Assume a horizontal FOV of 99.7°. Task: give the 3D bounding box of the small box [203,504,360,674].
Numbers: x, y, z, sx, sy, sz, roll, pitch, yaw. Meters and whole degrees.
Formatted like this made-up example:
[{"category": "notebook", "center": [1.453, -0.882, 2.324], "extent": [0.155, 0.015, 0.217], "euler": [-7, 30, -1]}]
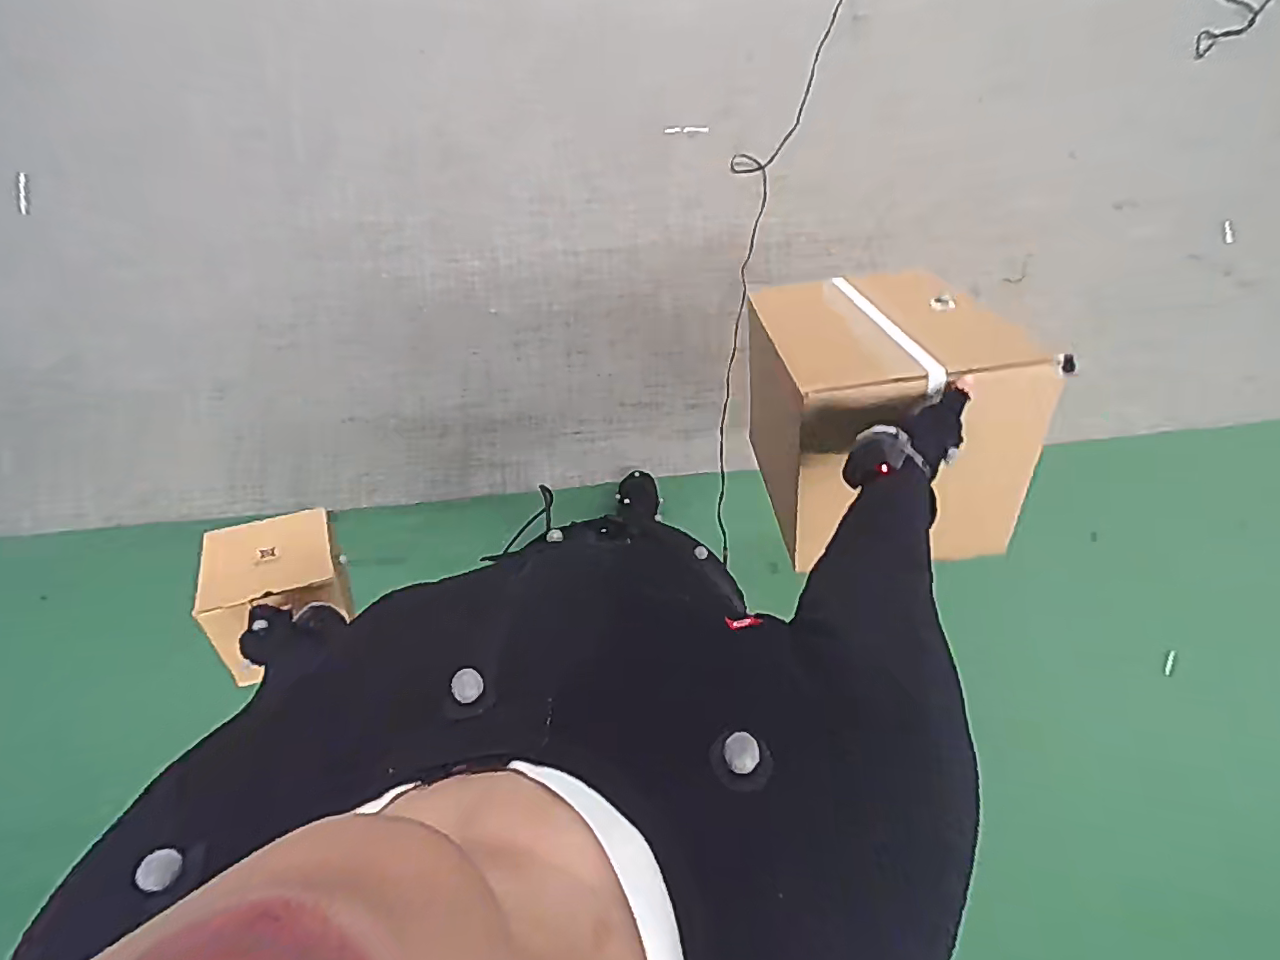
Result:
[{"category": "small box", "center": [-0.558, 0.168, 0.858], "extent": [0.168, 0.179, 0.176], "euler": [-14, 132, -25]}]
